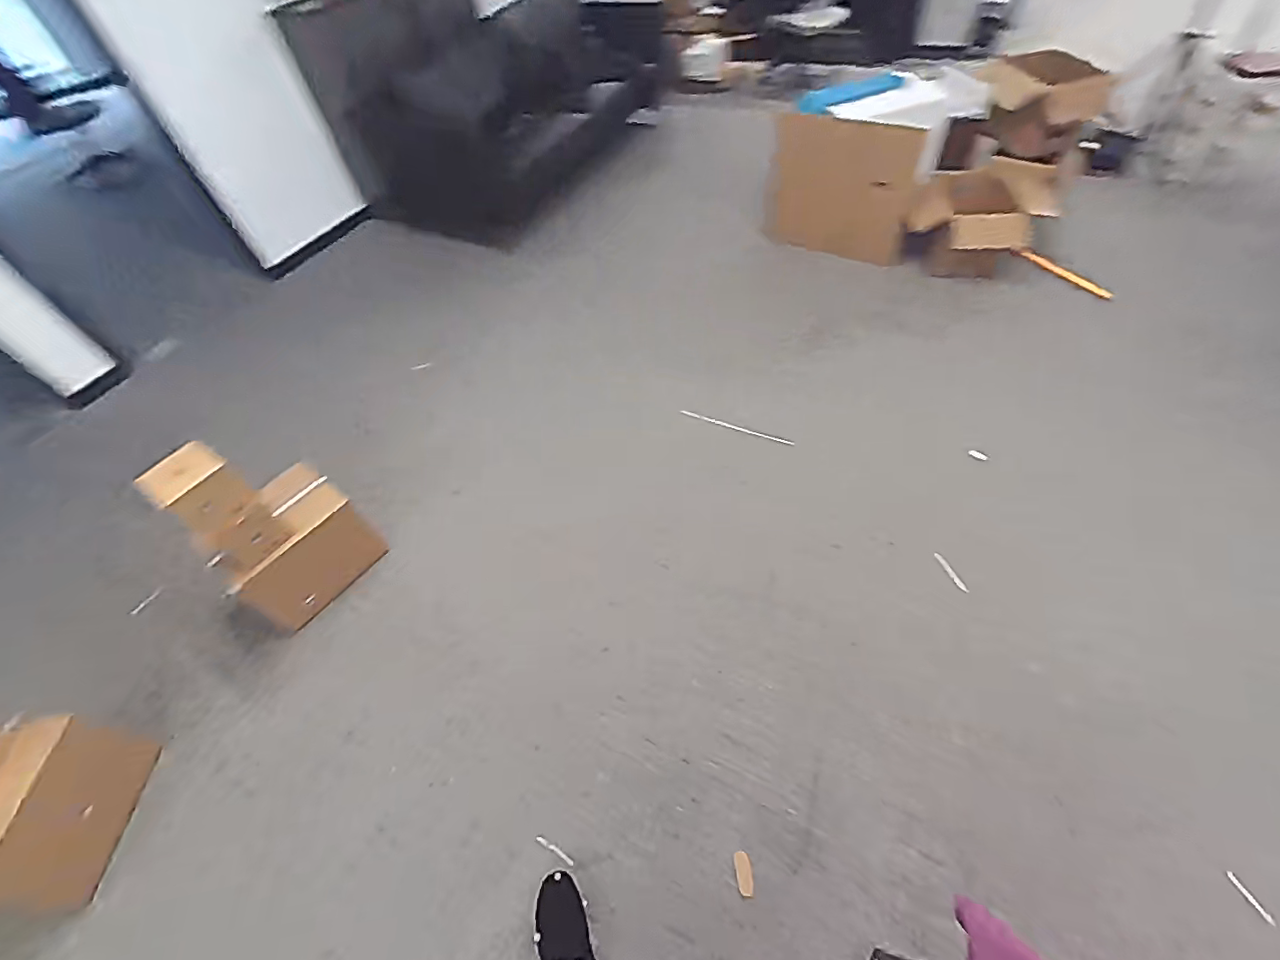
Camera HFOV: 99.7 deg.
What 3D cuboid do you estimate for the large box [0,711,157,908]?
[{"bbox_3d":[-1.602,0.856,1.403,0.320,0.320,0.408,-6,53,4],"label":"large box"}]

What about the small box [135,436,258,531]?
[{"bbox_3d":[-1.209,0.015,1.487,0.179,0.176,0.168,26,60,25],"label":"small box"}]

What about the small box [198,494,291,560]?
[{"bbox_3d":[-1.196,0.115,1.615,0.179,0.176,0.168,28,60,24],"label":"small box"}]
